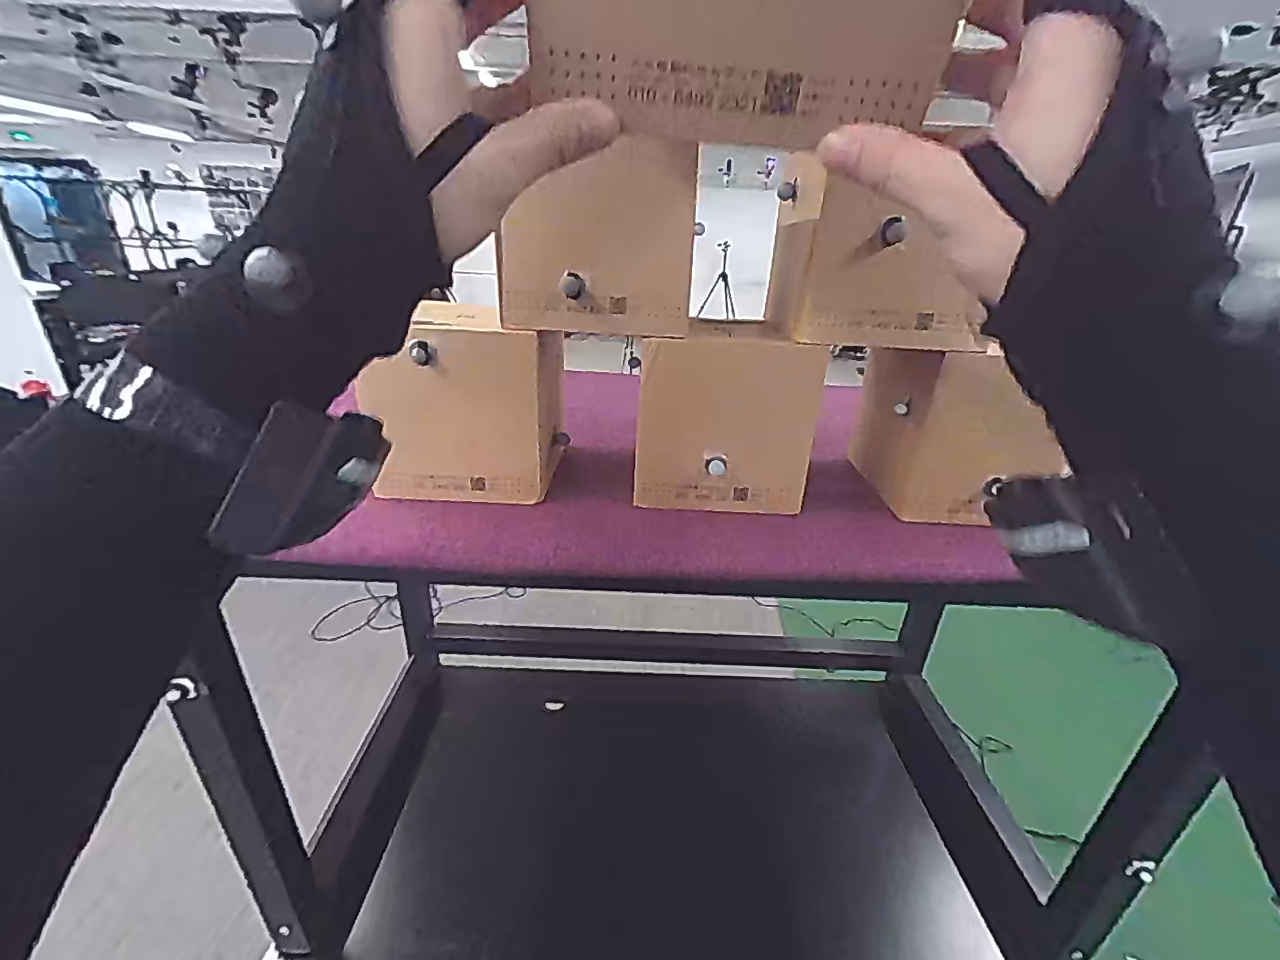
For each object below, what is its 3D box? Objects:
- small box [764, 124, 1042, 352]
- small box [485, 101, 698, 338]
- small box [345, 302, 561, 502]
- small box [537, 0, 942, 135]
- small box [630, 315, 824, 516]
[{"bbox_3d":[0.220,-0.219,0.509,0.168,0.176,0.179,3,23,1],"label":"small box"},{"bbox_3d":[-0.037,-0.235,0.511,0.168,0.176,0.179,3,24,2],"label":"small box"},{"bbox_3d":[-0.177,-0.090,0.568,0.168,0.176,0.179,2,22,-1],"label":"small box"},{"bbox_3d":[0.047,-0.273,0.236,0.168,0.176,0.179,7,48,1],"label":"small box"},{"bbox_3d":[0.076,-0.078,0.575,0.168,0.176,0.179,3,24,0],"label":"small box"}]
